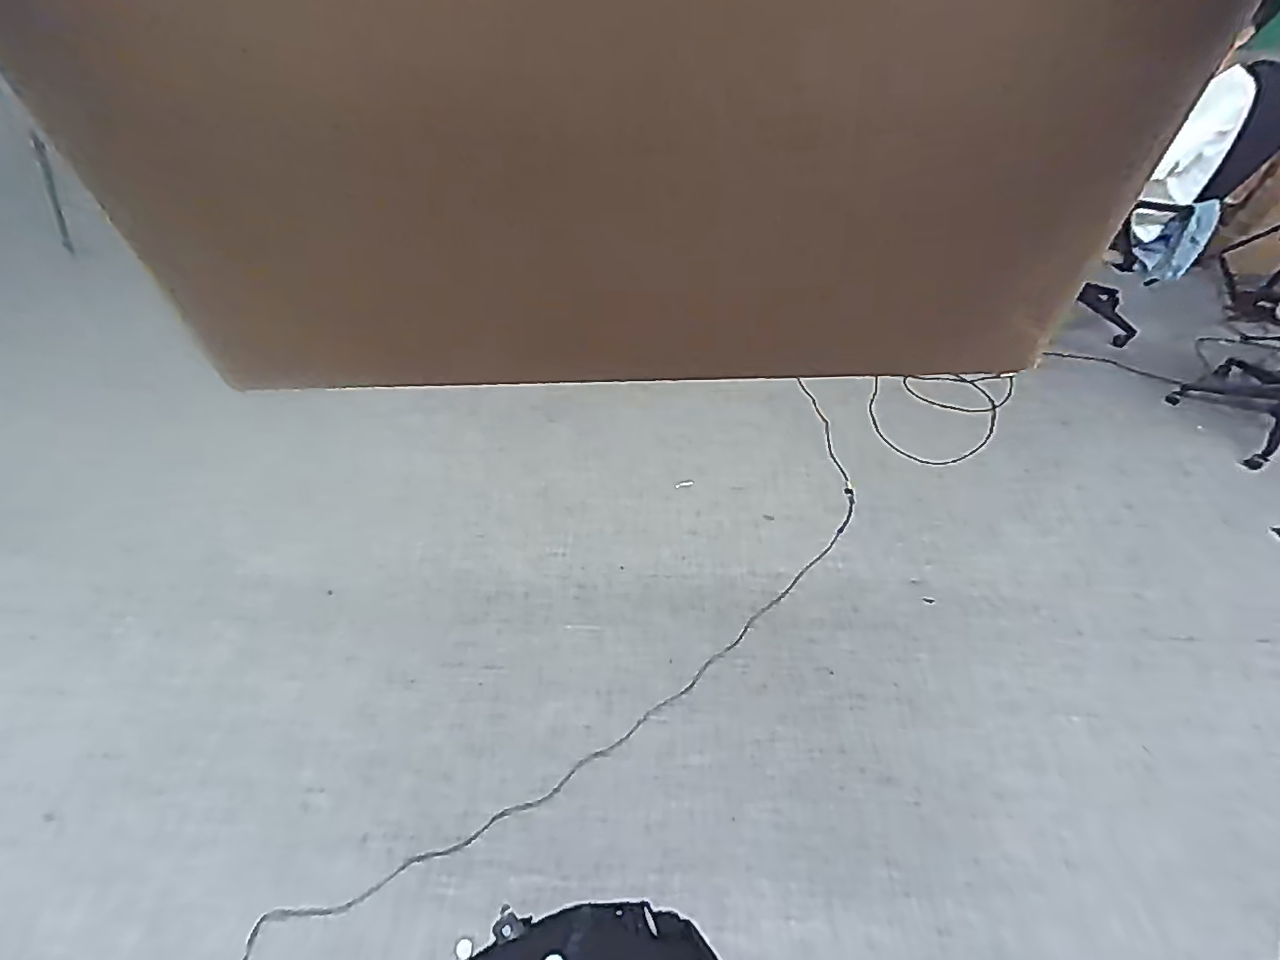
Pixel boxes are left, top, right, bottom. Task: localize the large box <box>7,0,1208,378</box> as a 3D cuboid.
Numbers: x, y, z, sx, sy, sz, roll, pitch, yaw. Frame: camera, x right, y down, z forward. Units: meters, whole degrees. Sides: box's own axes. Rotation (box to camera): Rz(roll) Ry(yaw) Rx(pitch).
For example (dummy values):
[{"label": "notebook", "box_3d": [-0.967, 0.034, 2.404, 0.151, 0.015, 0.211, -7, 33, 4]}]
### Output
[{"label": "large box", "box_3d": [-0.011, -0.267, 0.274, 0.408, 0.320, 0.320, -1, 48, 0]}]
